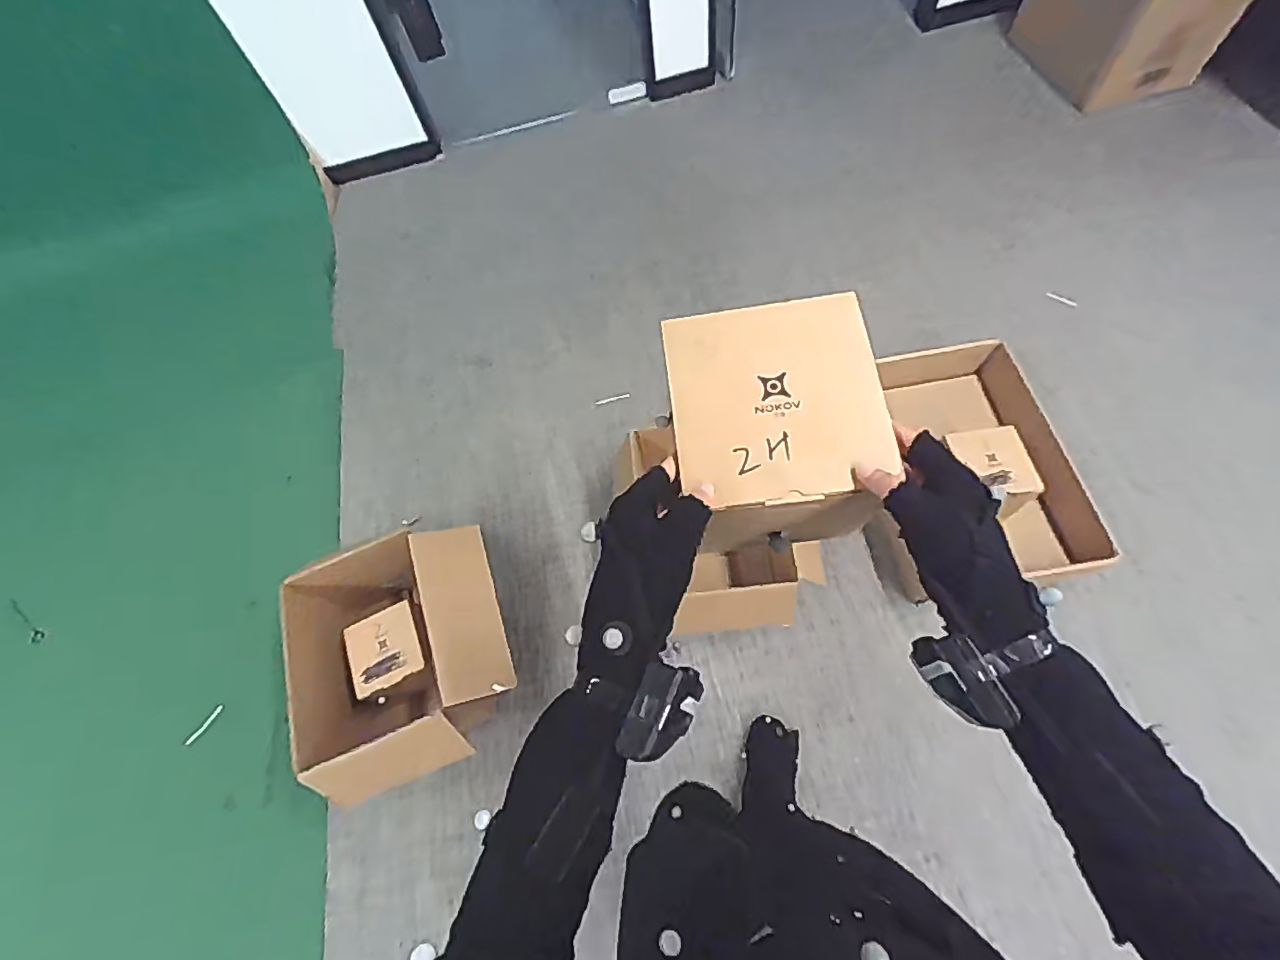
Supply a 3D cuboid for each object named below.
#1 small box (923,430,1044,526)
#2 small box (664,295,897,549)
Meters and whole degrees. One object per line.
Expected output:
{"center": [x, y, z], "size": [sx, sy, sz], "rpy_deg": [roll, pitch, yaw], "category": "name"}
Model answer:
{"center": [0.823, 0.002, 1.316], "size": [0.168, 0.176, 0.179], "rpy_deg": [-7, 62, 3], "category": "small box"}
{"center": [0.114, -0.043, 0.512], "size": [0.168, 0.176, 0.179], "rpy_deg": [-7, 71, 5], "category": "small box"}
